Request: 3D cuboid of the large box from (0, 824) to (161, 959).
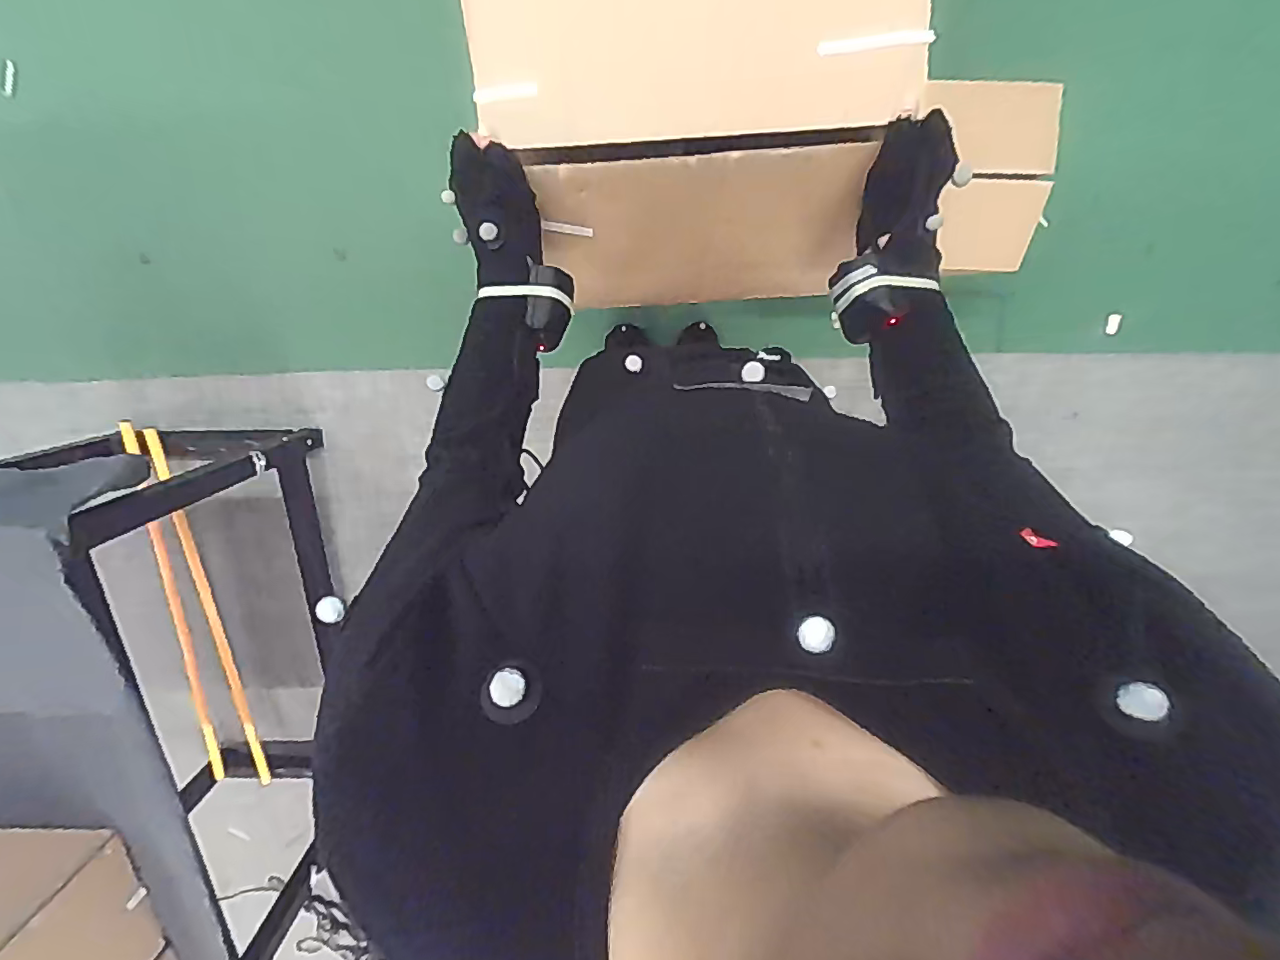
[{"bbox_3d":[-1.145,0.818,0.885,0.408,0.320,0.320,-2,109,1],"label":"large box"}]
